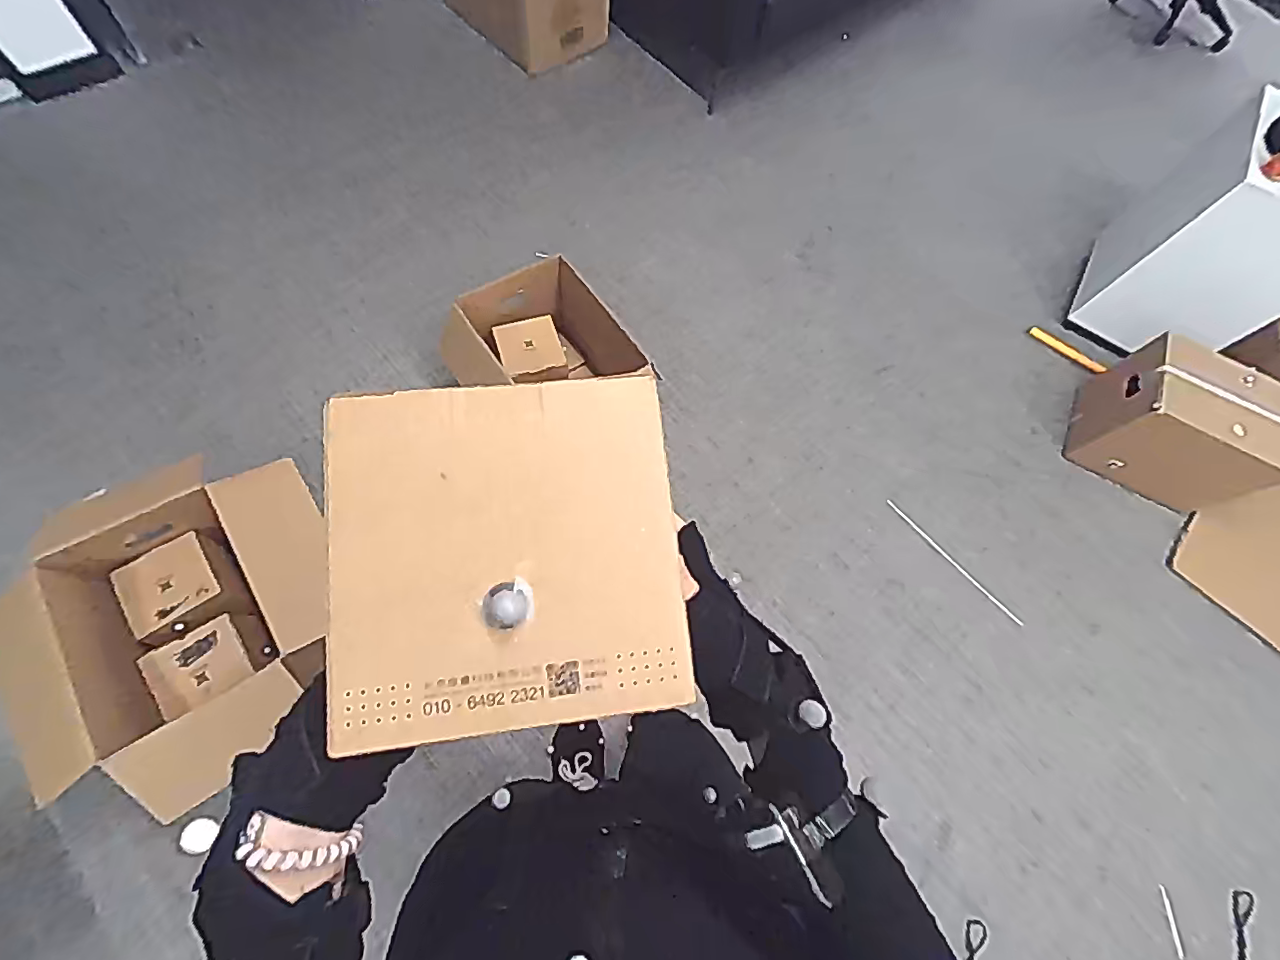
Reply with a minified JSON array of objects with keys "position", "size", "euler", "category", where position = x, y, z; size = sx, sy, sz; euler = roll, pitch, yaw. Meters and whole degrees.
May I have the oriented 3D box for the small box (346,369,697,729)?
[{"position":[-0.068,0.044,0.342],"size":[0.168,0.179,0.176],"euler":[-5,80,-8],"category":"small box"}]
